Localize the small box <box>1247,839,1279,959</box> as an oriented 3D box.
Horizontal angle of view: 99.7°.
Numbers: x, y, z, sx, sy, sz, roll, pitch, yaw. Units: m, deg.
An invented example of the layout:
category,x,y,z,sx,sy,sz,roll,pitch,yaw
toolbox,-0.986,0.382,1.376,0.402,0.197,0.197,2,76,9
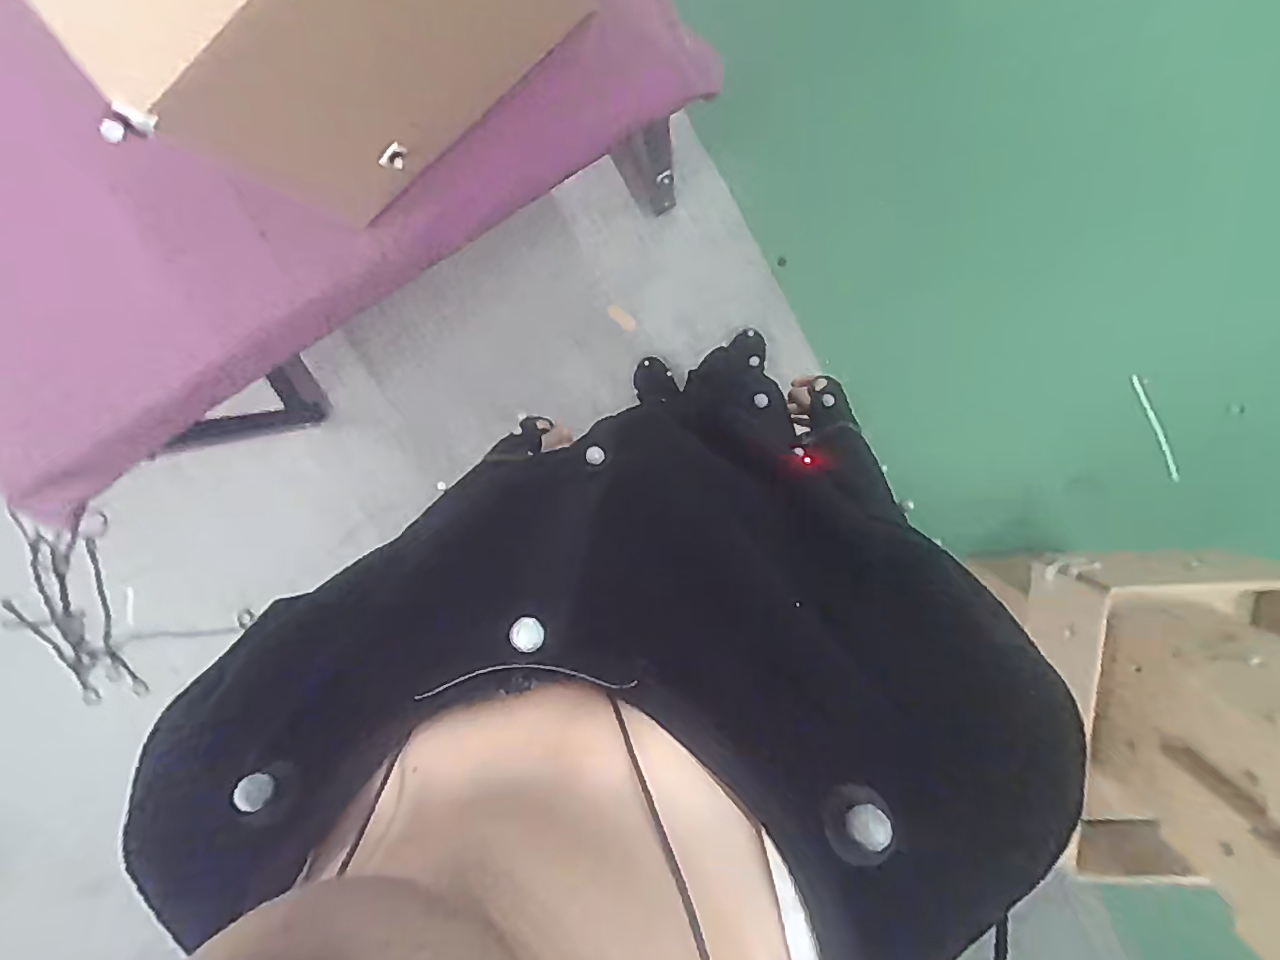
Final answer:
category,x,y,z,sx,sy,sz,roll,pitch,yaw
small box,0.972,0.610,0.710,0.168,0.176,0.179,-3,99,6
